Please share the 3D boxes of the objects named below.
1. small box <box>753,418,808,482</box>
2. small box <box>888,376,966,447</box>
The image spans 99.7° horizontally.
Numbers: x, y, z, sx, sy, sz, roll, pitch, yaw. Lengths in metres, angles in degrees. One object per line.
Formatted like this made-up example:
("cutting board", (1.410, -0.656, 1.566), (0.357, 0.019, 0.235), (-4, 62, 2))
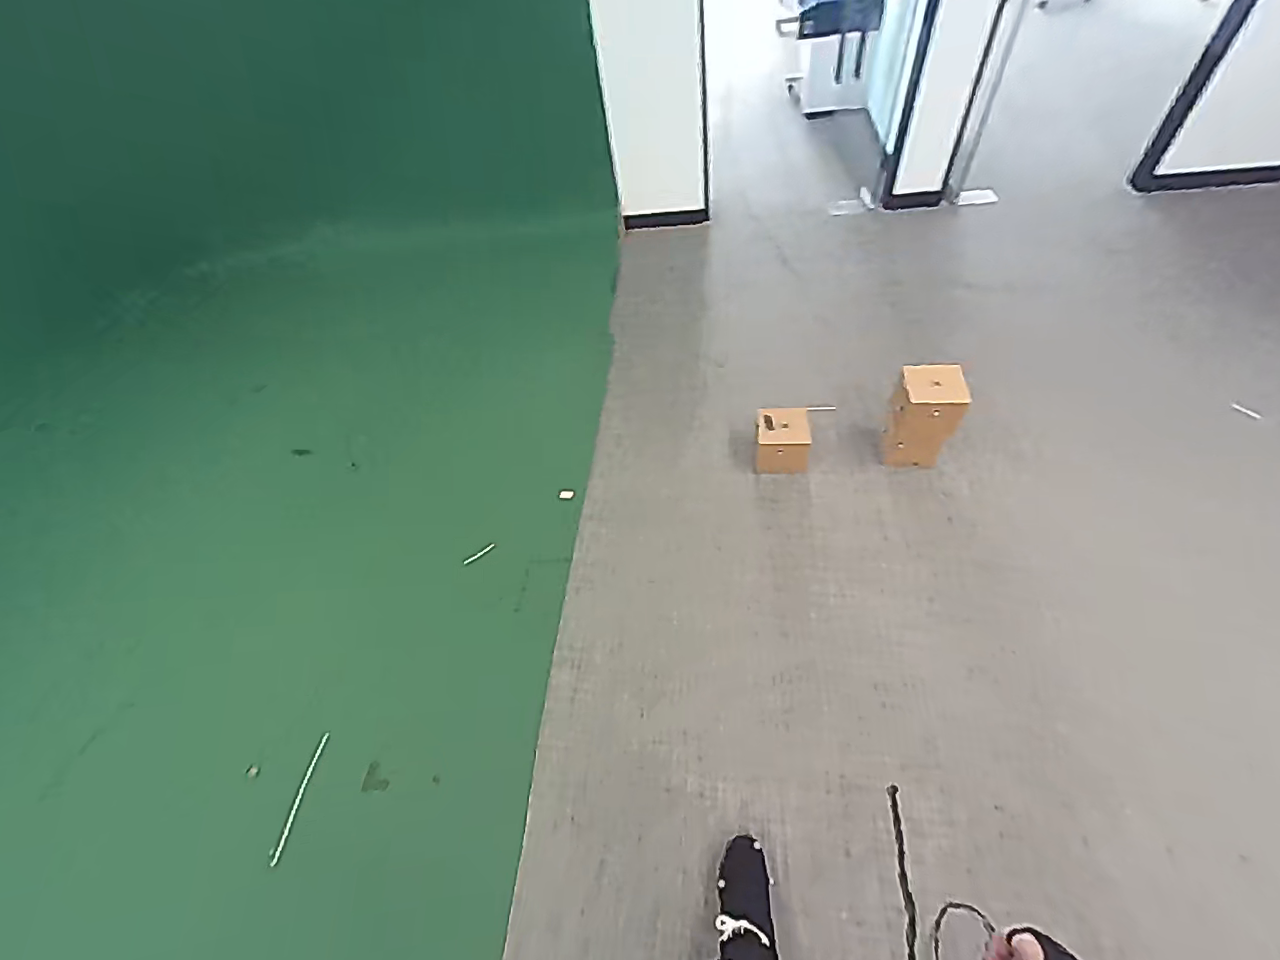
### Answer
("small box", (0.499, -0.105, 1.944), (0.179, 0.176, 0.168), (0, 53, 7))
("small box", (0.923, -0.221, 1.761), (0.179, 0.176, 0.168), (1, 53, 8))
